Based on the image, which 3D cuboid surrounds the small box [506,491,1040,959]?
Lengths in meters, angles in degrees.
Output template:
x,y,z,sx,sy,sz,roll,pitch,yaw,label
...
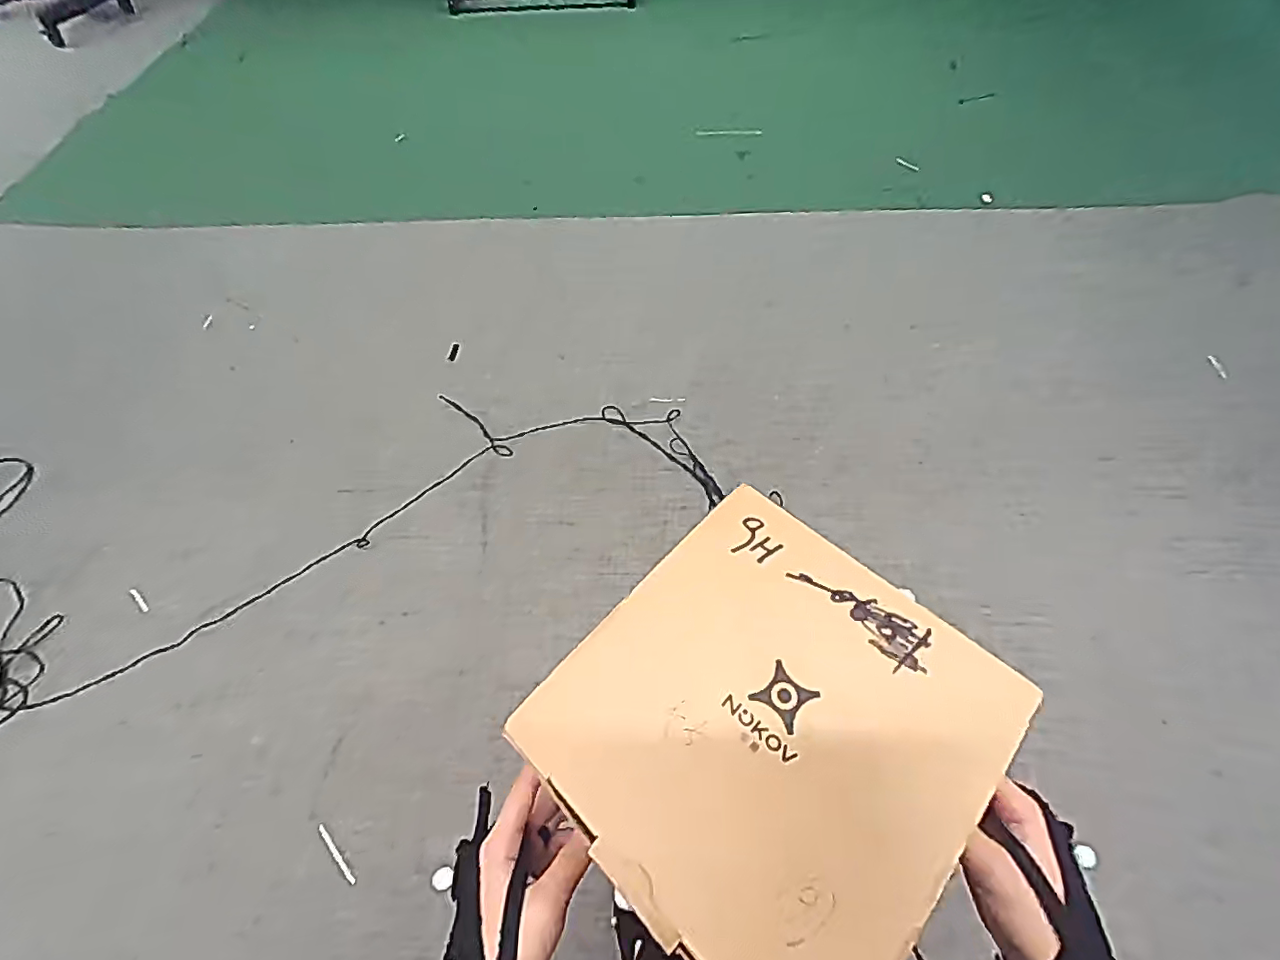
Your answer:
x,y,z,sx,sy,sz,roll,pitch,yaw,label
0.061,0.147,0.302,0.168,0.176,0.179,38,67,25,small box
